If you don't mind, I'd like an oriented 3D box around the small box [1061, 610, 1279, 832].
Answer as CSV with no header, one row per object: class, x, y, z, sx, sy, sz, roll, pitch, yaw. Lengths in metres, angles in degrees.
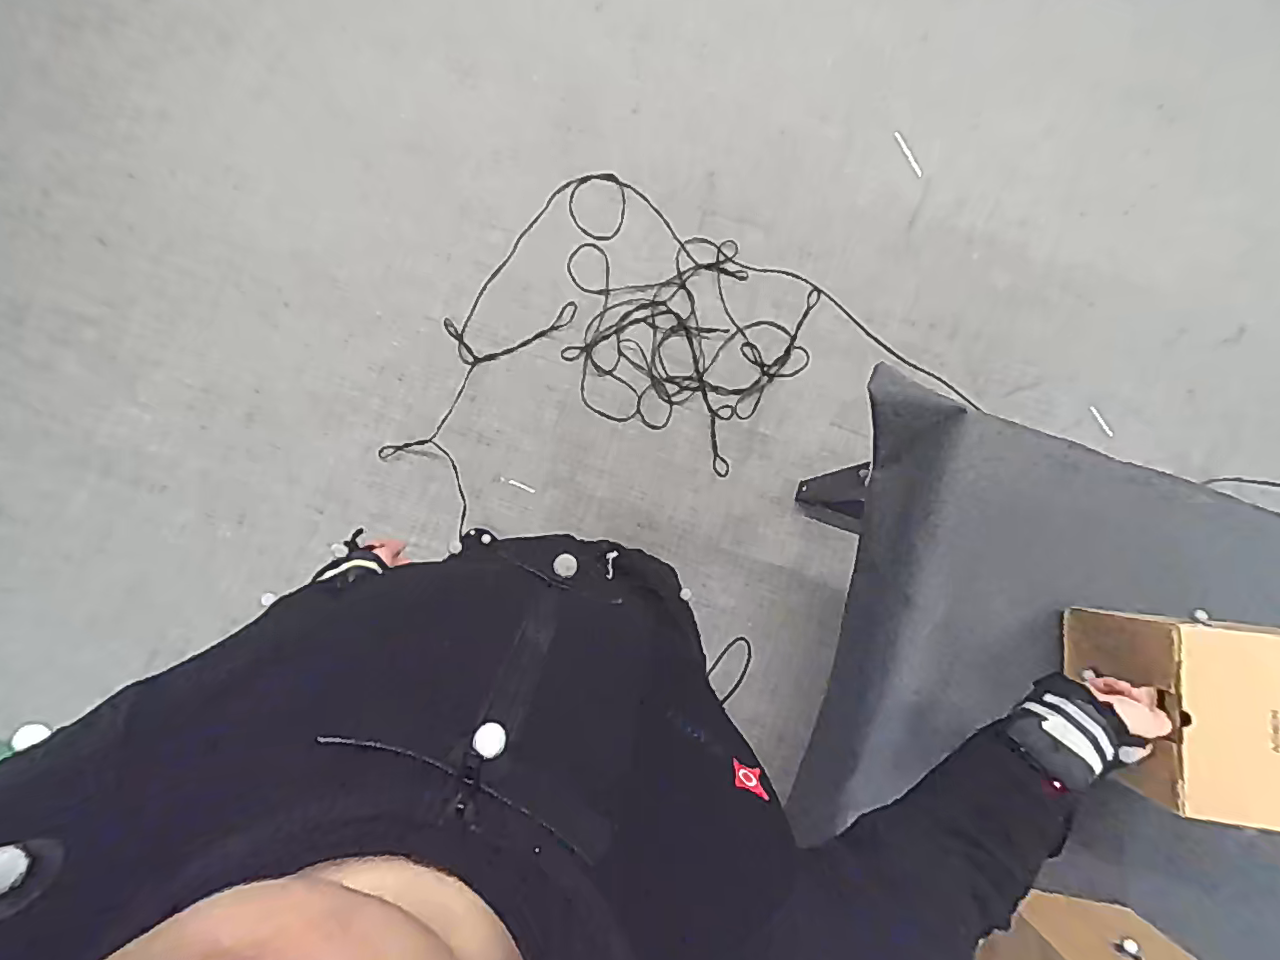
small box,0.572,0.228,0.544,0.179,0.176,0.168,4,83,9
